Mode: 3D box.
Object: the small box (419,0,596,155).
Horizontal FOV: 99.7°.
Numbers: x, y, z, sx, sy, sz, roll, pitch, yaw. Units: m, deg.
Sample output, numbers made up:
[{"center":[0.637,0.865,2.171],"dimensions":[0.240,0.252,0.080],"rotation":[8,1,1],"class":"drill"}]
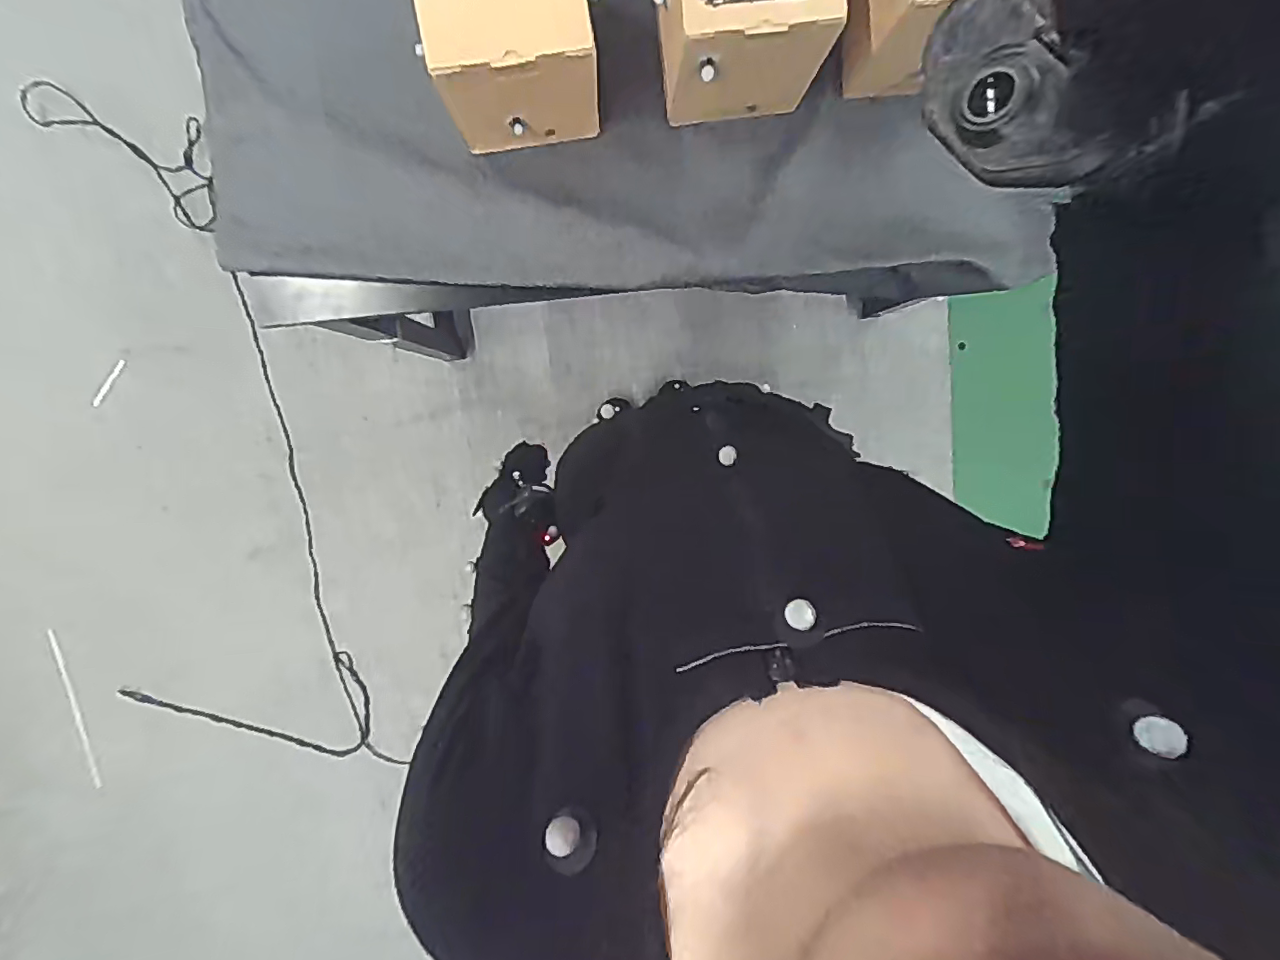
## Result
[{"center":[-0.143,-0.504,0.608],"dimensions":[0.168,0.176,0.179],"rotation":[-9,98,-2],"class":"small box"}]
